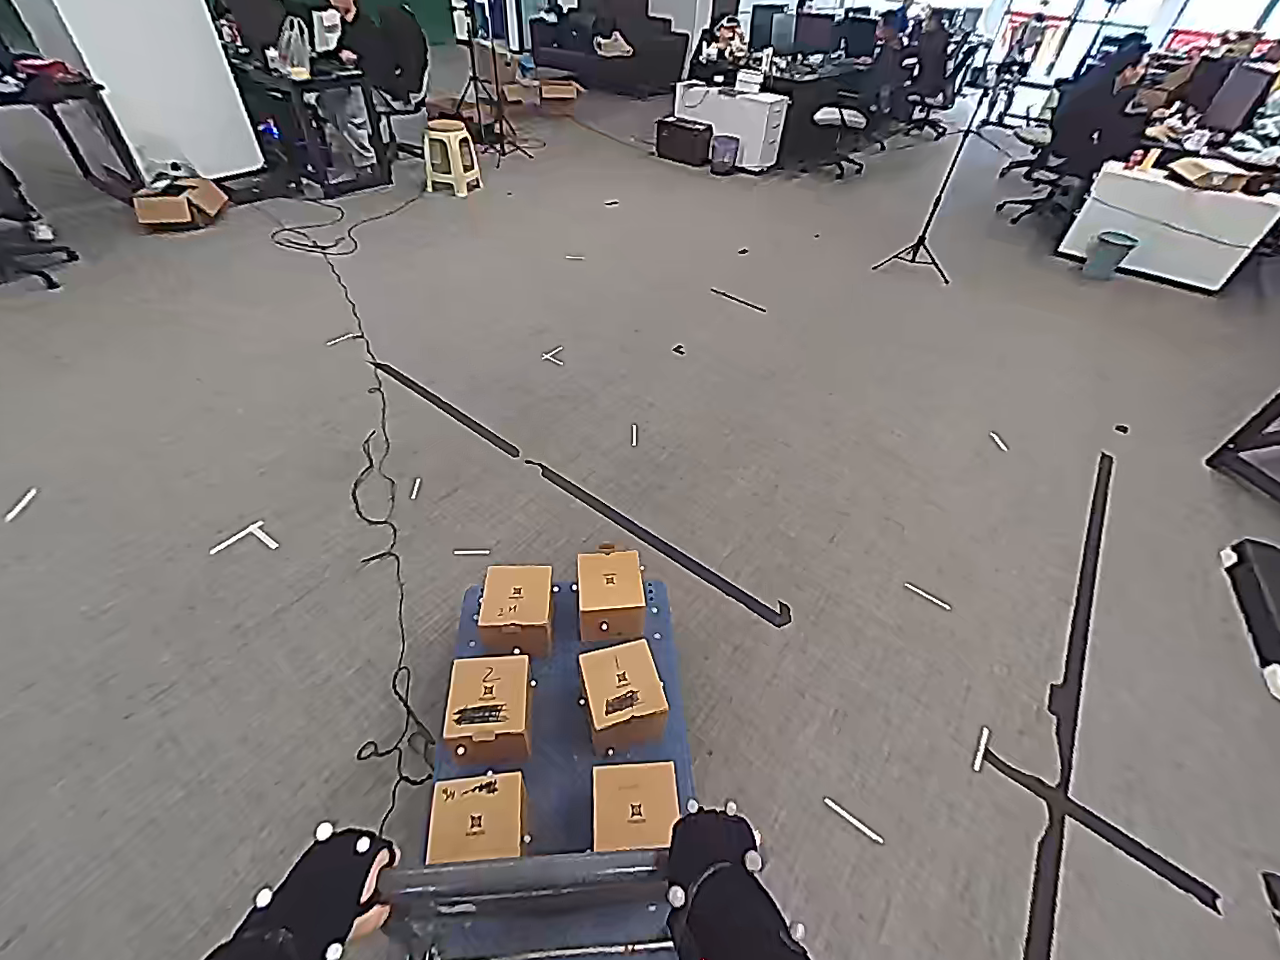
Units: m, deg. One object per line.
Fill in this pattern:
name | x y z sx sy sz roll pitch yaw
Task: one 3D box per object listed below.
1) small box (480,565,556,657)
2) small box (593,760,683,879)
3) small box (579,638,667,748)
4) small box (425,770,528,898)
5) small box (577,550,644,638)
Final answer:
small box | -0.309 0.339 1.405 0.168 0.176 0.179 0 46 -4
small box | -0.010 0.686 1.087 0.168 0.176 0.179 0 45 -5
small box | -0.044 0.504 1.265 0.168 0.176 0.179 -9 46 -14
small box | -0.307 0.693 1.053 0.168 0.176 0.179 -2 46 -9
small box | -0.081 0.311 1.455 0.168 0.176 0.179 -3 45 -7
